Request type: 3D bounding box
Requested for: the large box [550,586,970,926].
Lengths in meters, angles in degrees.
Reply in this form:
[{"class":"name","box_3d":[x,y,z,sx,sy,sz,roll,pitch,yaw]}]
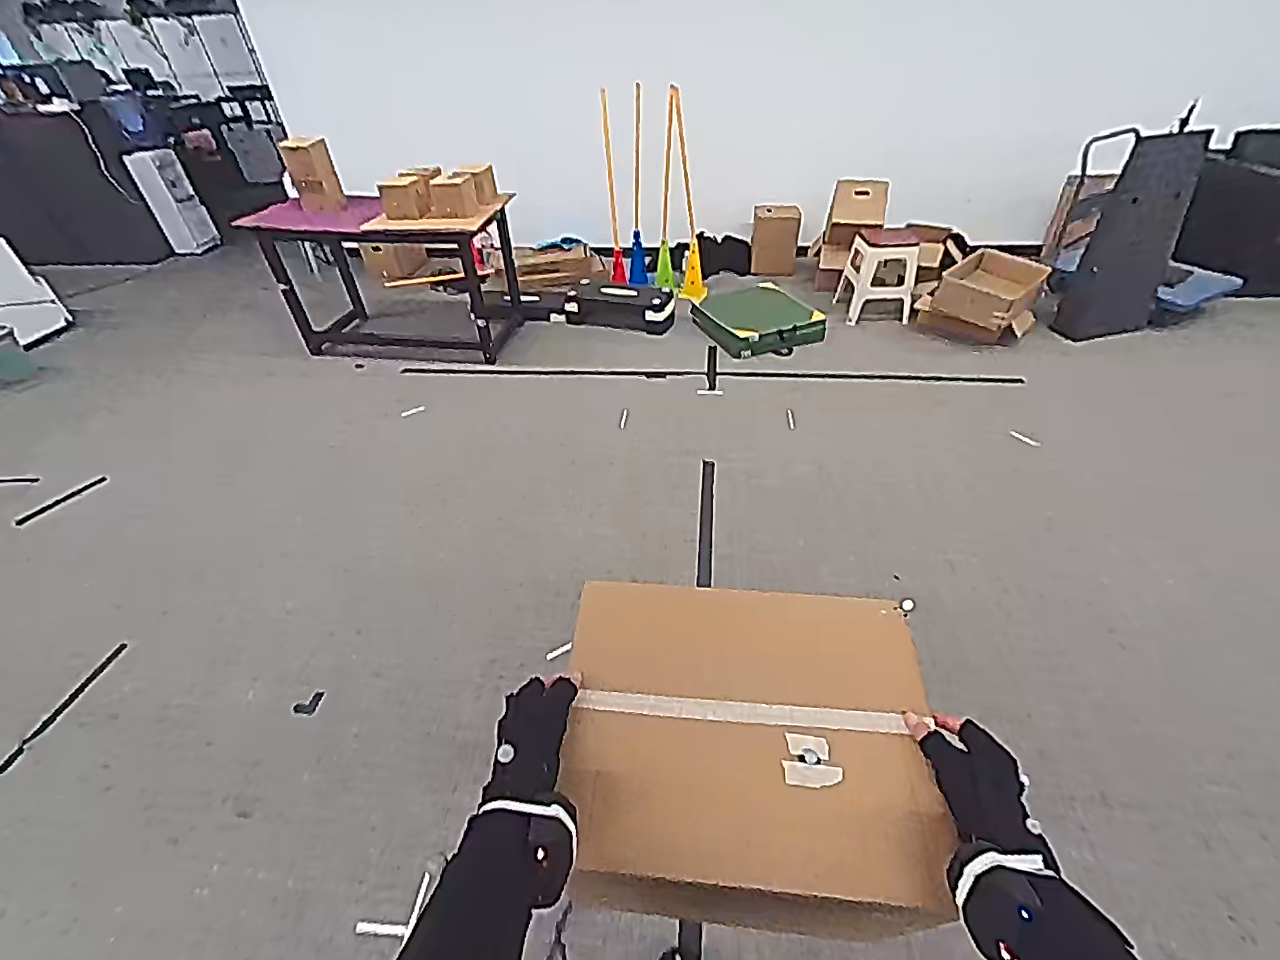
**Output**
[{"class":"large box","box_3d":[0.122,0.362,0.717,0.408,0.320,0.320,2,47,5]}]
